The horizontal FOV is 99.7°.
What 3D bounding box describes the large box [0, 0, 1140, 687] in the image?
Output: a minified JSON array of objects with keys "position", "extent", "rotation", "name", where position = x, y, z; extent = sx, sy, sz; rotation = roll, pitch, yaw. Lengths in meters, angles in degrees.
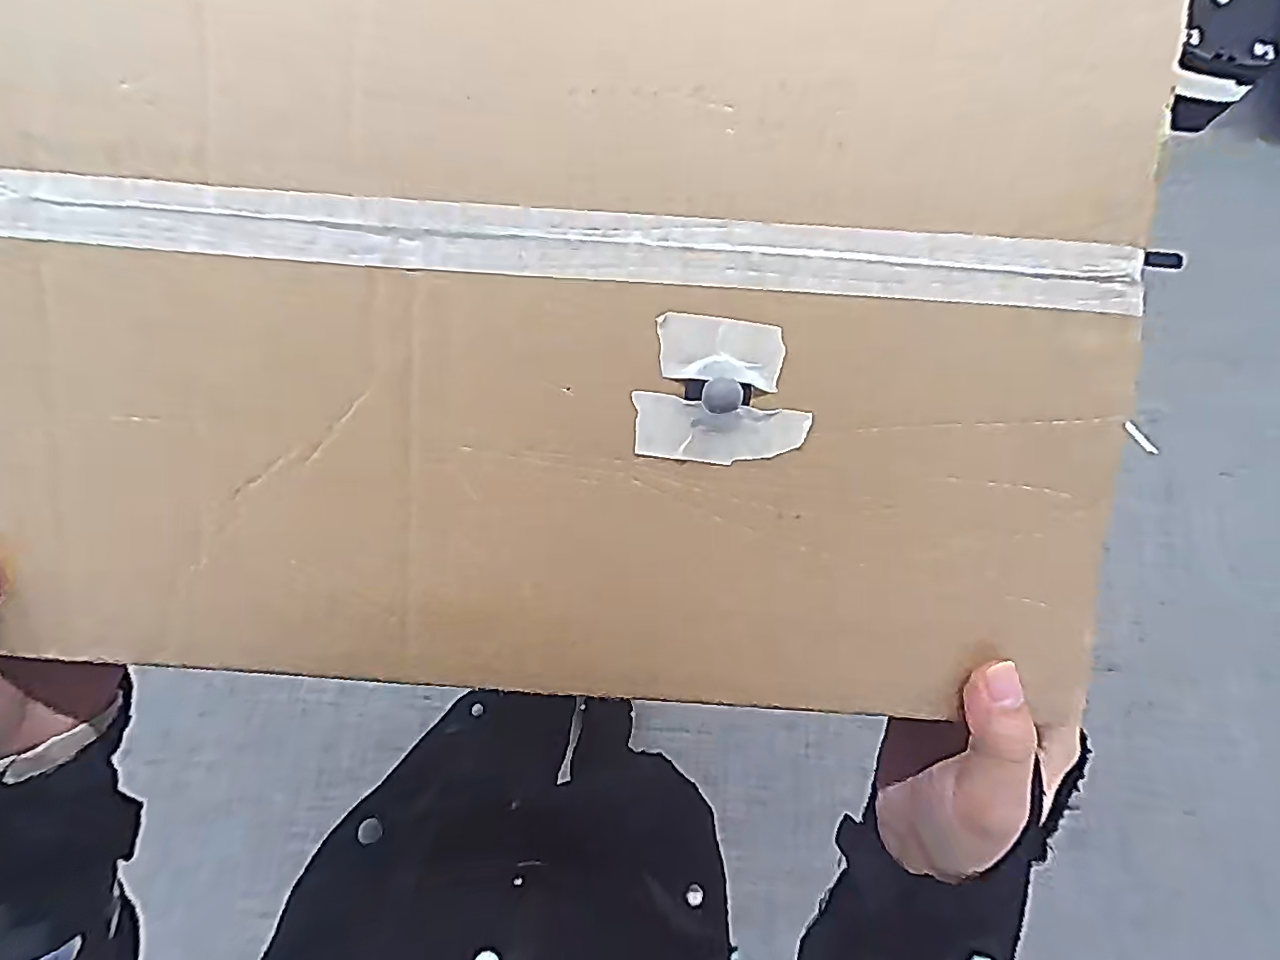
[{"position":[-0.036,-0.094,0.341],"extent":[0.408,0.320,0.320],"rotation":[4,97,-1],"name":"large box"}]
